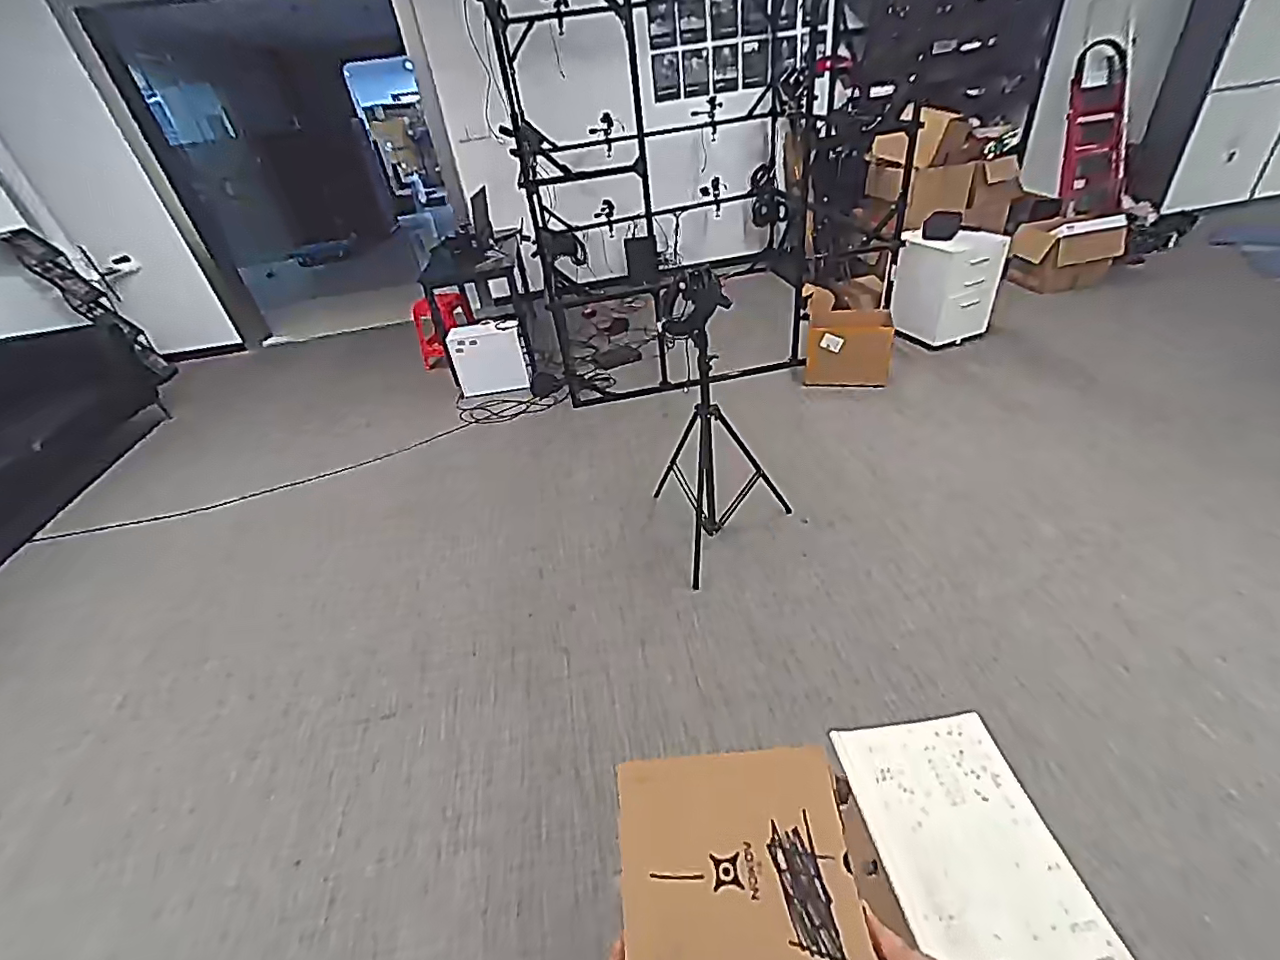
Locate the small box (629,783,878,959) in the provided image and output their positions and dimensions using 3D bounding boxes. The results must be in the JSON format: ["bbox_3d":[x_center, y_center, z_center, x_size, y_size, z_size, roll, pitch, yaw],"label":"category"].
[{"bbox_3d":[0.085,0.372,0.464,0.179,0.176,0.168,-5,50,2],"label":"small box"}]

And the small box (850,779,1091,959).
[{"bbox_3d":[0.371,0.502,0.655,0.168,0.176,0.179,-9,36,-4],"label":"small box"}]
